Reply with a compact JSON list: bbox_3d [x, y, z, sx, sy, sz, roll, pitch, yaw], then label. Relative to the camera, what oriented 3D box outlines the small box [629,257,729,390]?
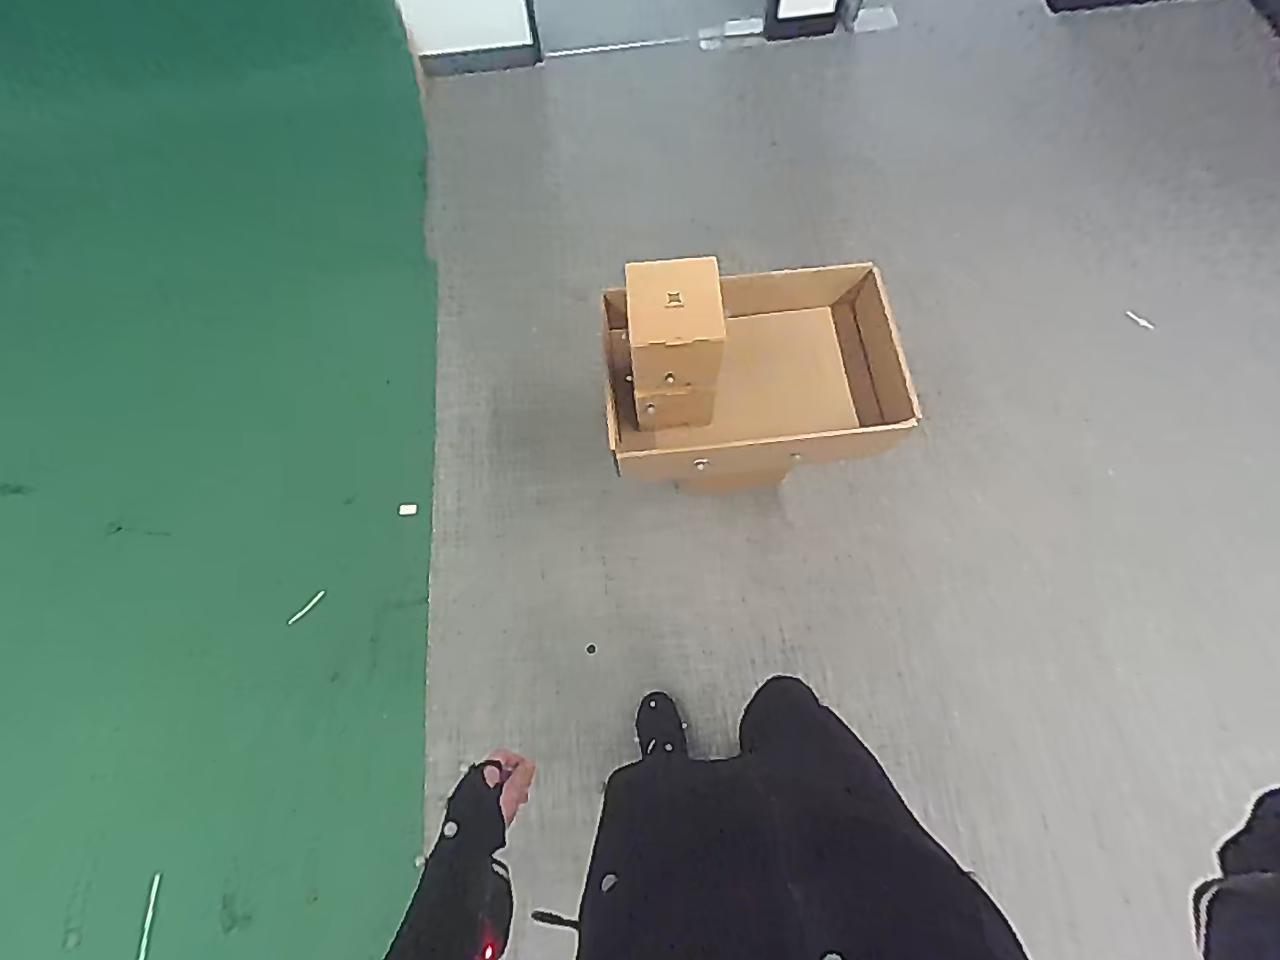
[{"bbox_3d":[0.066,-0.288,1.013,0.168,0.176,0.179,-4,70,0],"label":"small box"}]
